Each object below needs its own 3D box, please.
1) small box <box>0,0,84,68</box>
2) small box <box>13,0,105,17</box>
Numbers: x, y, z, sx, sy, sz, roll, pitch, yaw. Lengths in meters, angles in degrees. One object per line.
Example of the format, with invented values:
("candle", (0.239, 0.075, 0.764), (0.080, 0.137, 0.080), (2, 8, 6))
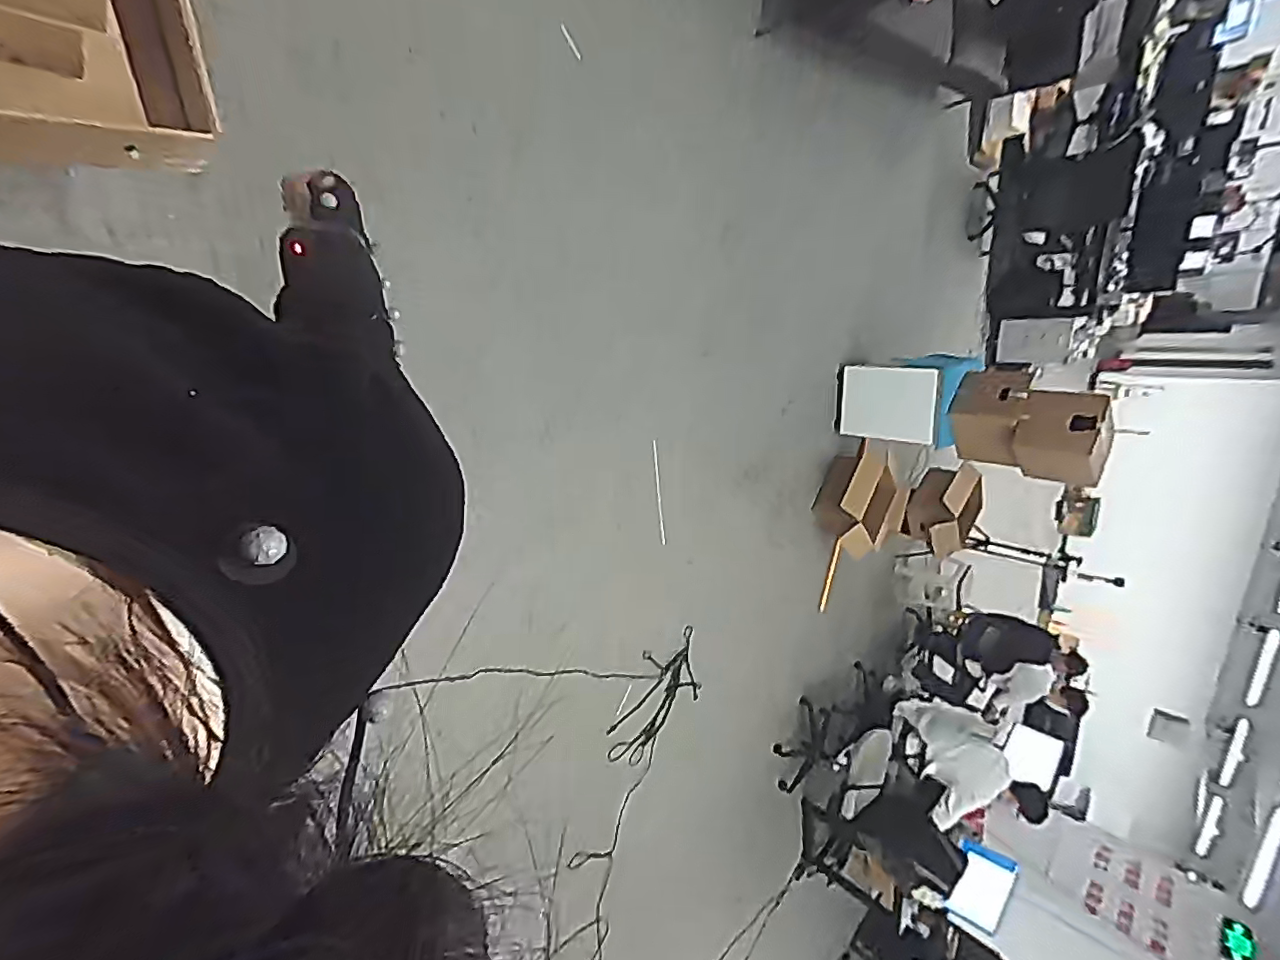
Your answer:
("small box", (-0.743, -0.595, 0.590), (0.168, 0.176, 0.179), (-13, 109, -42))
("small box", (-0.620, -0.567, 0.485), (0.179, 0.176, 0.168), (-15, 111, -42))
